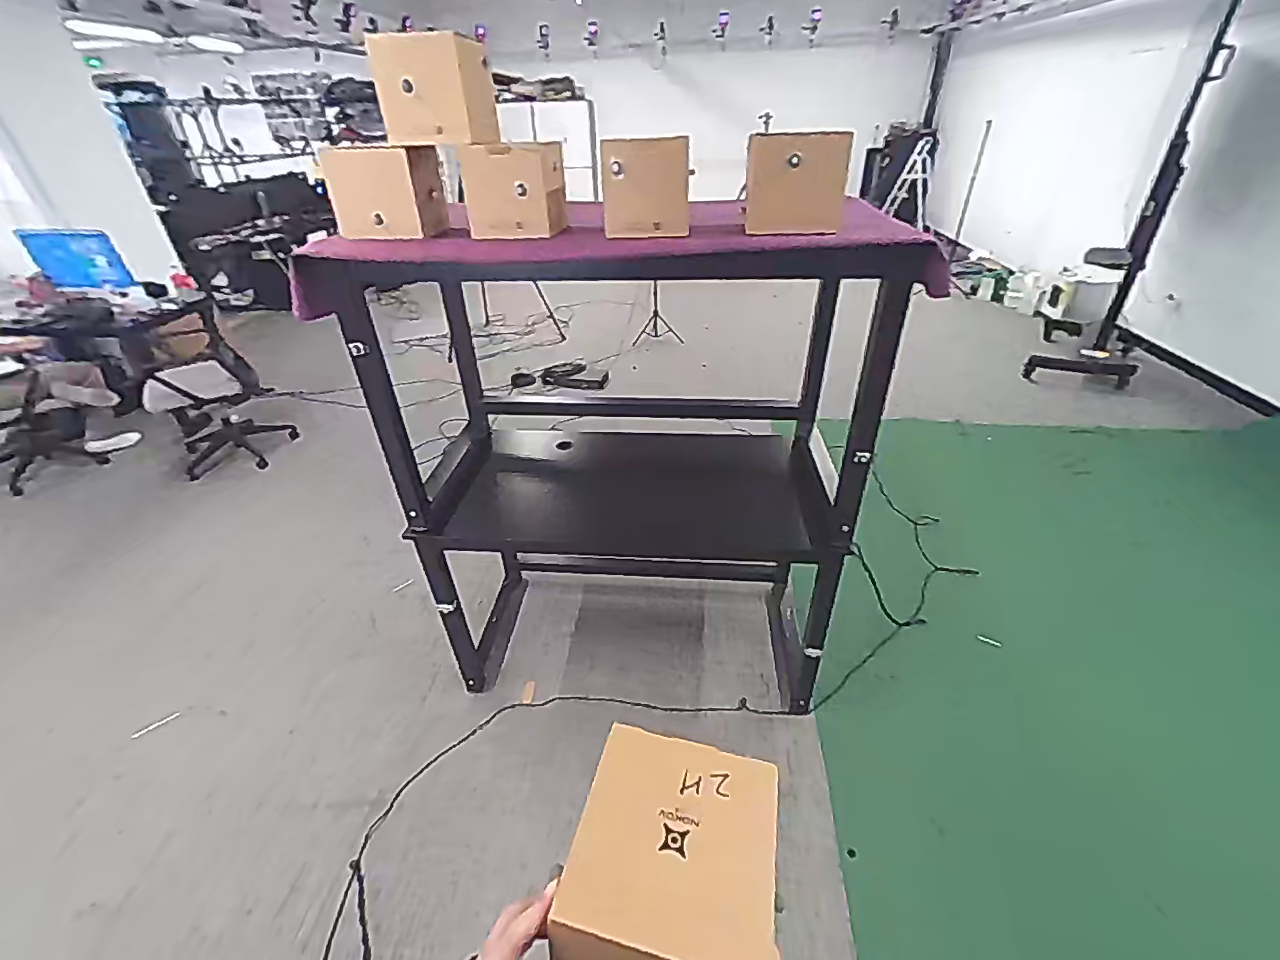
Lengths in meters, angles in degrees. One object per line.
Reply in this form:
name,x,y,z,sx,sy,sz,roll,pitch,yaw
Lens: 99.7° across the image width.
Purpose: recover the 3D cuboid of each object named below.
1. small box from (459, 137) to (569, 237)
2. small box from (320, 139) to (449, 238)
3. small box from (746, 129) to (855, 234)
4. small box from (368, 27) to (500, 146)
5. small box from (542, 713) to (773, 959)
small box,-0.247,-0.603,1.114,0.168,0.176,0.179,3,33,7
small box,-0.520,-0.611,1.133,0.179,0.176,0.168,2,33,3
small box,0.303,-0.585,1.063,0.179,0.176,0.168,2,33,6
small box,-0.380,-0.746,1.039,0.168,0.176,0.179,2,33,5
small box,0.023,0.357,0.495,0.168,0.176,0.179,10,29,10
